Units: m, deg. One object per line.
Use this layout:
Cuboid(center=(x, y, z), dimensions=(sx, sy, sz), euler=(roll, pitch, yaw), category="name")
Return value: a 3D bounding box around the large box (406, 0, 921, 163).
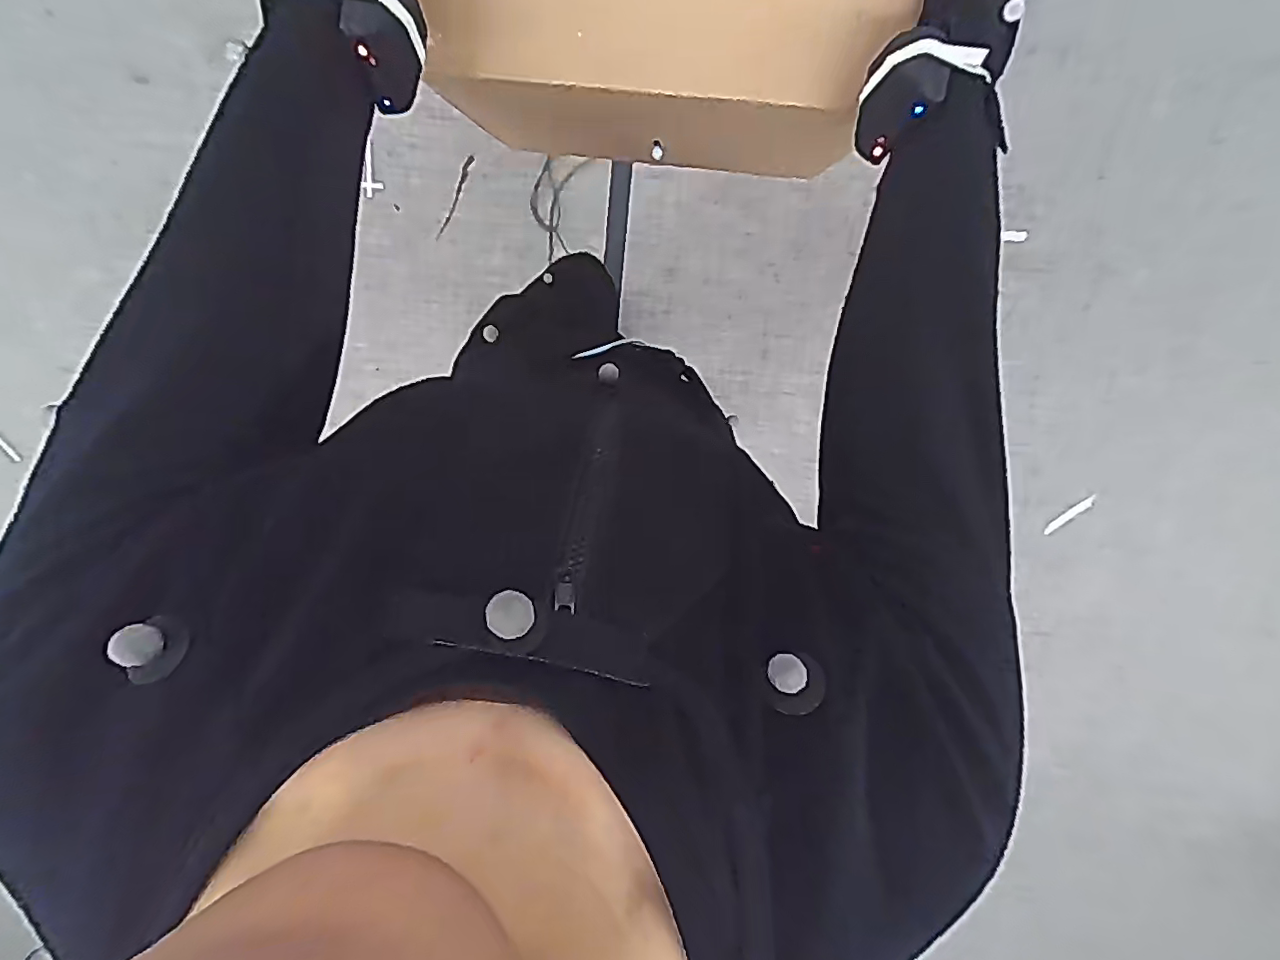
Cuboid(center=(0.034, -0.516, 0.518), dimensions=(0.408, 0.320, 0.320), euler=(7, 110, 2), category="large box")
